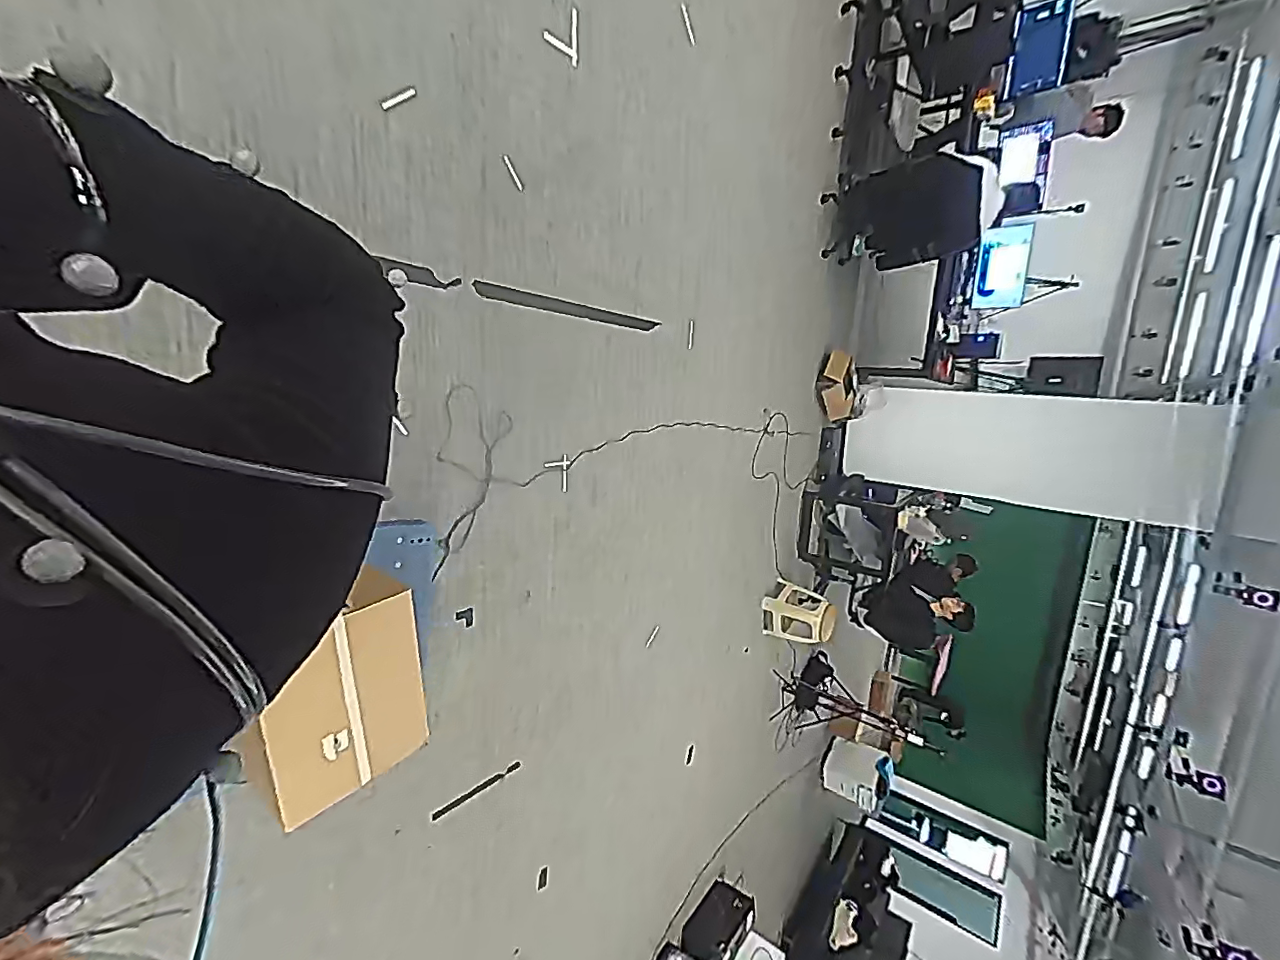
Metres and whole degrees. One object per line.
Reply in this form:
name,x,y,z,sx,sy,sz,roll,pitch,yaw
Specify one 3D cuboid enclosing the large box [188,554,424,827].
large box,-0.719,0.426,1.190,0.320,0.320,0.408,-19,115,-49
